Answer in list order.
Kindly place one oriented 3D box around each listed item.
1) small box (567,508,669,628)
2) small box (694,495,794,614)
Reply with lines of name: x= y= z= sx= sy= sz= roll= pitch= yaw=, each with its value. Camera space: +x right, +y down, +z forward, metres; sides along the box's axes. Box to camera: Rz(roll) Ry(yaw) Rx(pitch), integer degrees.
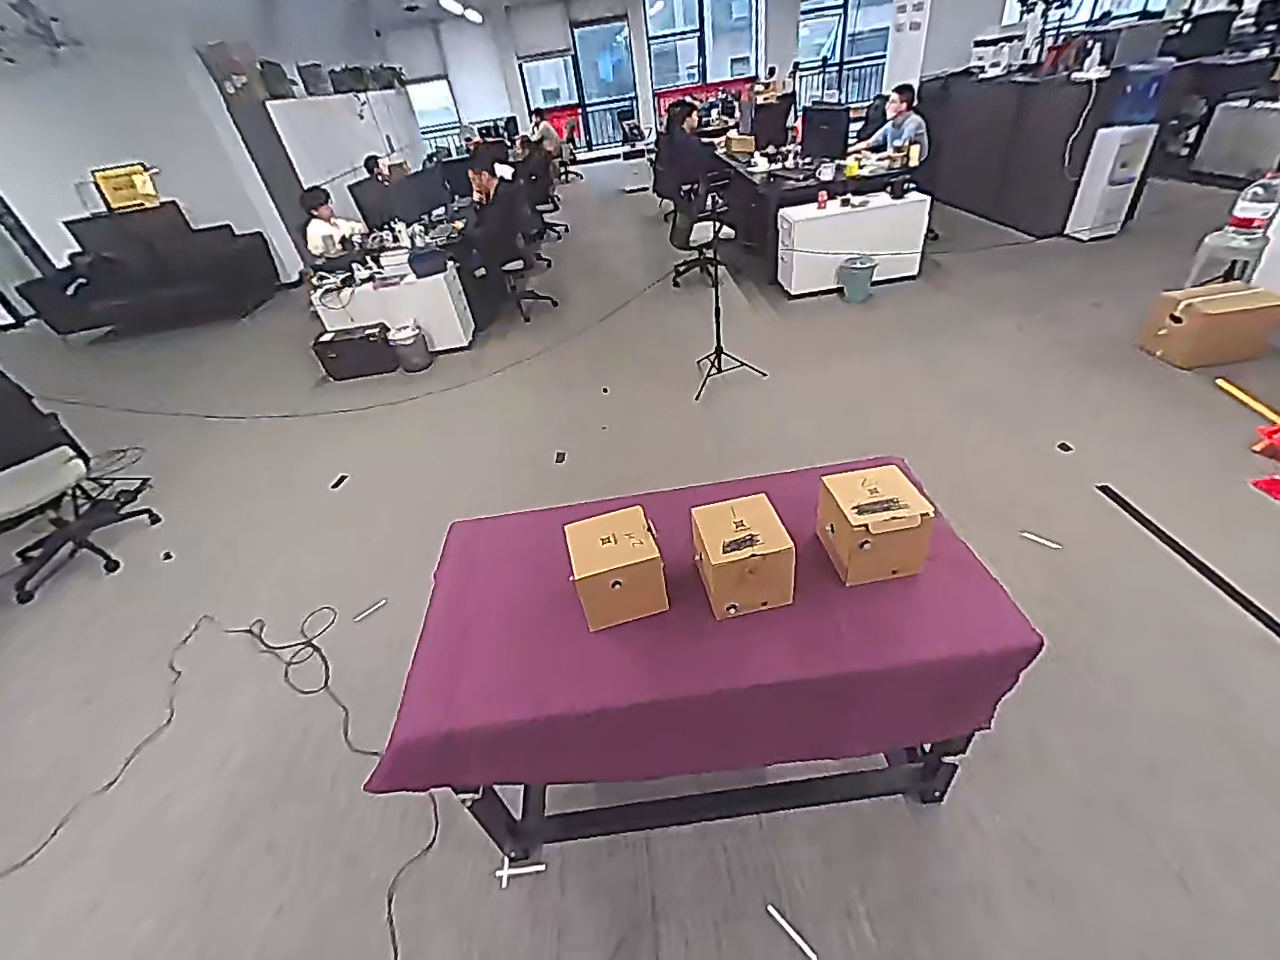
small box: x=-0.047 y=0.190 z=1.159 sx=0.179 sy=0.176 sz=0.168 roll=-14 pitch=38 yaw=-6
small box: x=0.216 y=0.162 z=1.140 sx=0.168 sy=0.176 sz=0.179 roll=-11 pitch=36 yaw=-3
